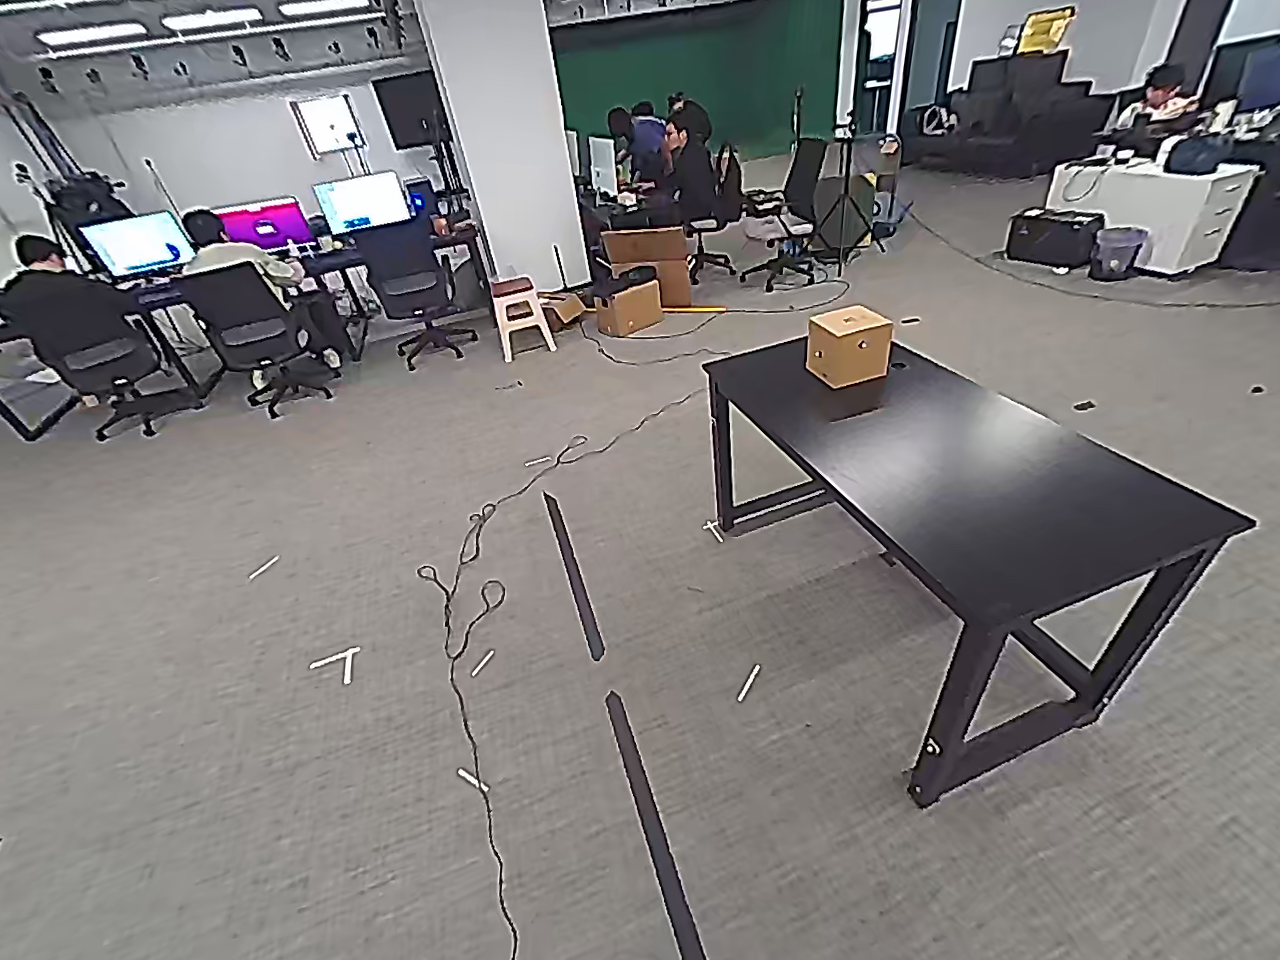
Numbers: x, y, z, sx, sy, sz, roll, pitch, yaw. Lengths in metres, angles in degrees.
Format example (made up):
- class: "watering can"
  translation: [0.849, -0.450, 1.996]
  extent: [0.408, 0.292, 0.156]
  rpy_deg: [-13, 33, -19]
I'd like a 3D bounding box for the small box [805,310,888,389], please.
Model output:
- class: "small box"
  translation: [0.615, -0.392, 1.629]
  extent: [0.179, 0.176, 0.168]
  rpy_deg: [-16, 37, -8]
